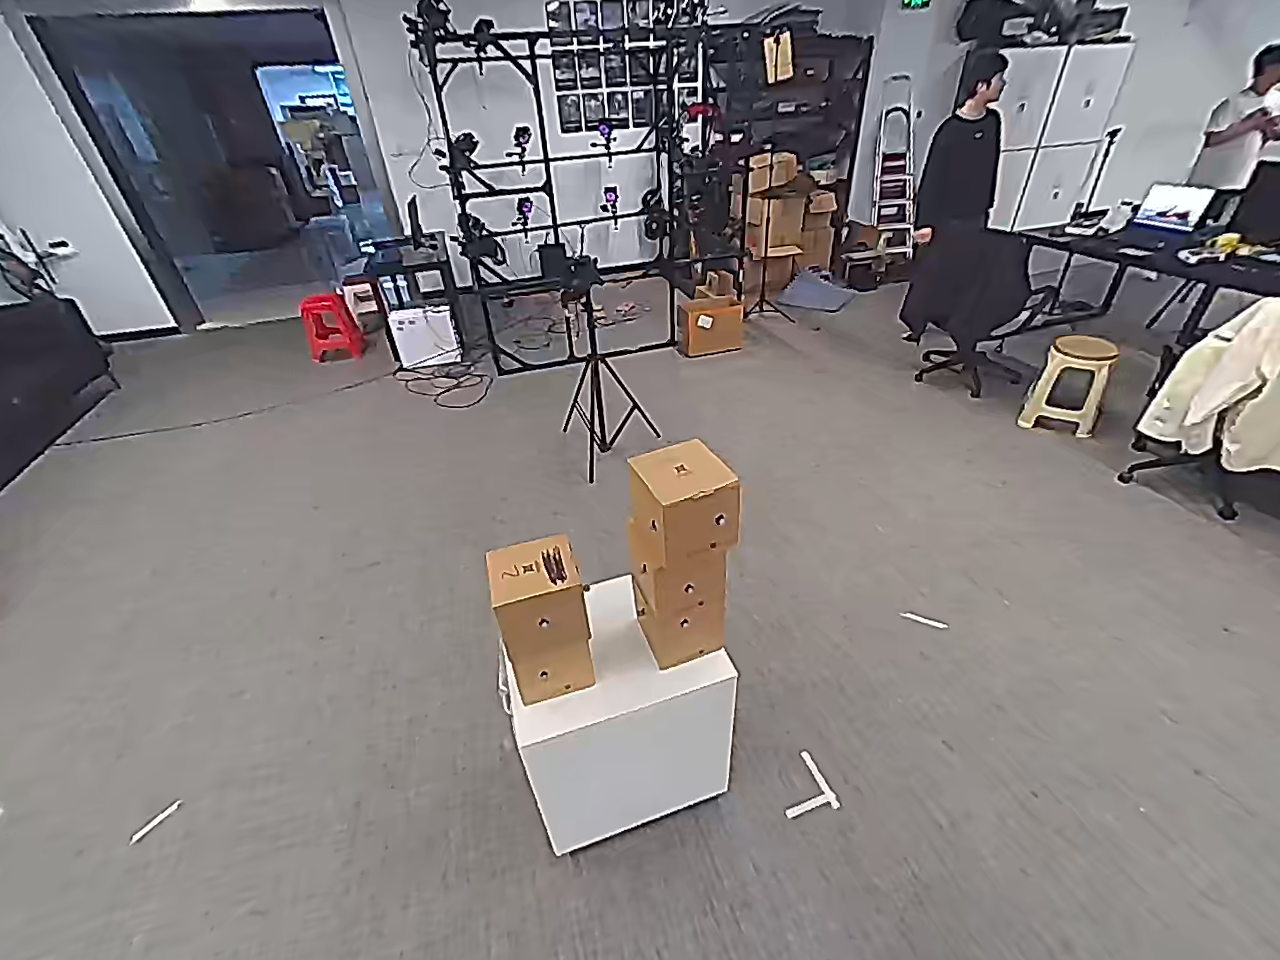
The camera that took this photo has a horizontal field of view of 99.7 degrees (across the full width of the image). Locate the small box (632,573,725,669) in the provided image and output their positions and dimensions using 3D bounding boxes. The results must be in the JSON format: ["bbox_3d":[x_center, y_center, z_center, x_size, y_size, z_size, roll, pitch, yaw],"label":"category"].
[{"bbox_3d":[0.089,0.314,1.290,0.168,0.176,0.179,-16,37,-14],"label":"small box"}]

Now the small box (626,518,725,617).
[{"bbox_3d":[0.078,0.179,1.194,0.168,0.176,0.179,-15,37,-13],"label":"small box"}]

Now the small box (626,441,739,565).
[{"bbox_3d":[0.085,0.050,1.094,0.168,0.176,0.179,-17,37,-18],"label":"small box"}]

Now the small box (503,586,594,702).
[{"bbox_3d":[-0.208,0.378,1.233,0.168,0.176,0.179,-12,36,-12],"label":"small box"}]
